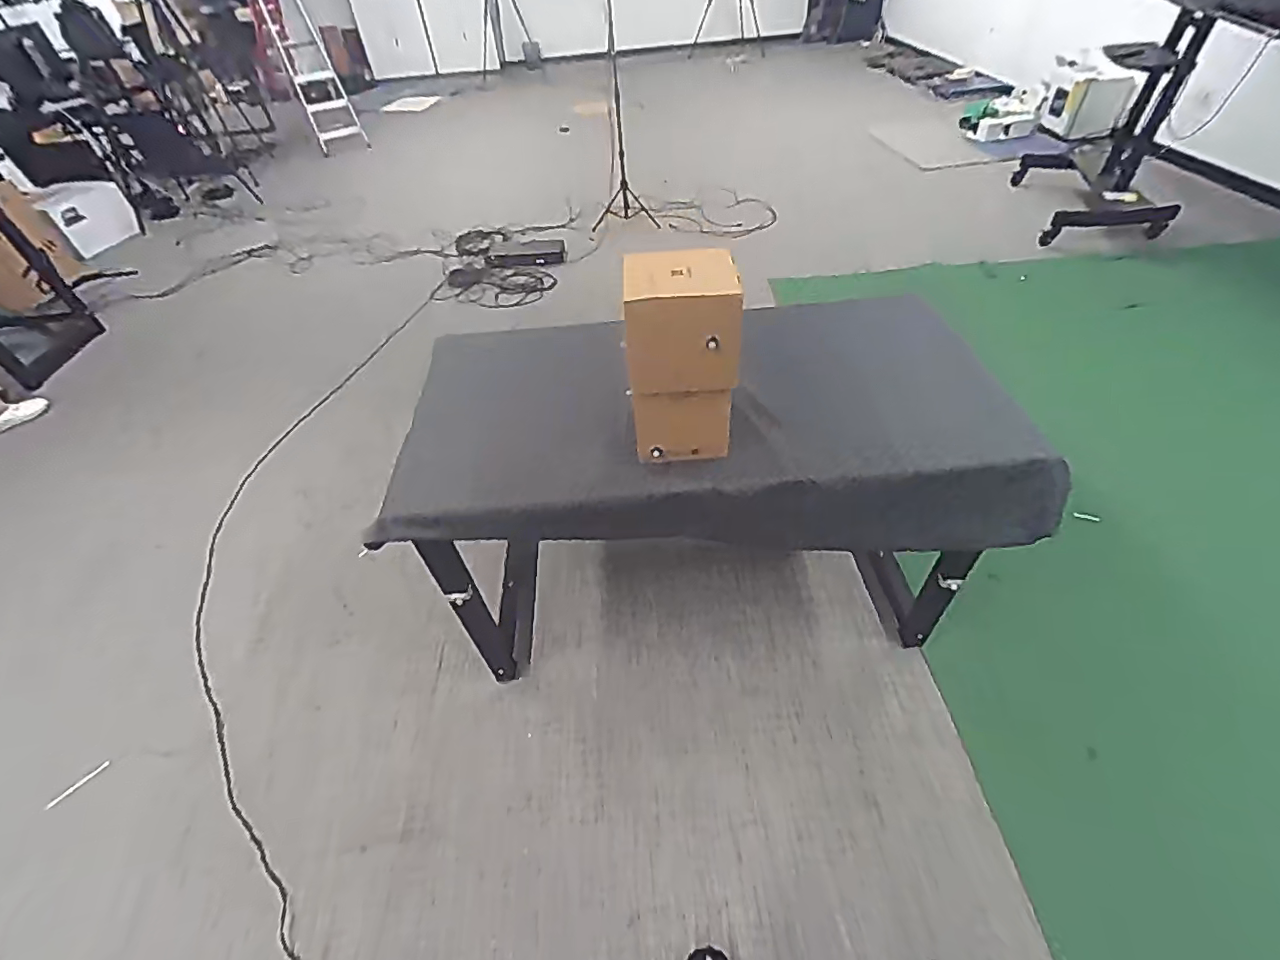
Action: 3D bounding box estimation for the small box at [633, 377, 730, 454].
[{"bbox_3d":[0.071,-0.162,1.017,0.168,0.176,0.179,-7,47,-1],"label":"small box"}]

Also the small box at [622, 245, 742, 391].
[{"bbox_3d":[0.066,-0.264,0.890,0.179,0.176,0.168,-4,44,3],"label":"small box"}]
